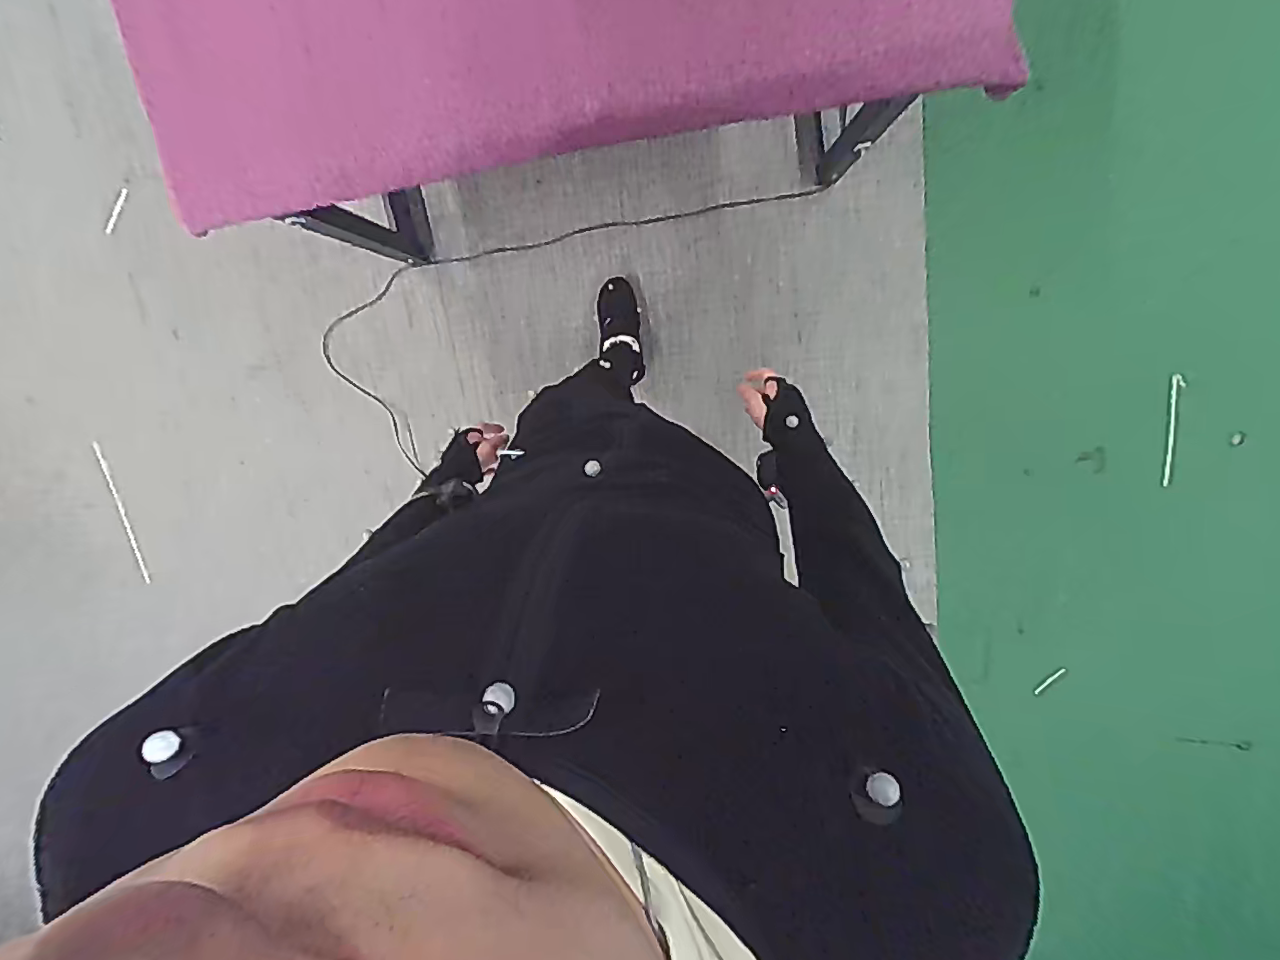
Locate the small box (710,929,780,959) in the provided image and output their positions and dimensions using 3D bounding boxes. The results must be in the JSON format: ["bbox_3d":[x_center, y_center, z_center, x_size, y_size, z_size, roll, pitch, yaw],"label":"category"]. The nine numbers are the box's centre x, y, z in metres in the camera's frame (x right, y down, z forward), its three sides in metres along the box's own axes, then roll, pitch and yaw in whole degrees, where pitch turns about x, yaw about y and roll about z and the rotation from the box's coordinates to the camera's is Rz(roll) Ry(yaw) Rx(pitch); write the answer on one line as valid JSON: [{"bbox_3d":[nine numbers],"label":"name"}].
[{"bbox_3d":[0.277,1.292,1.382,0.179,0.176,0.168,-7,102,6],"label":"small box"}]
